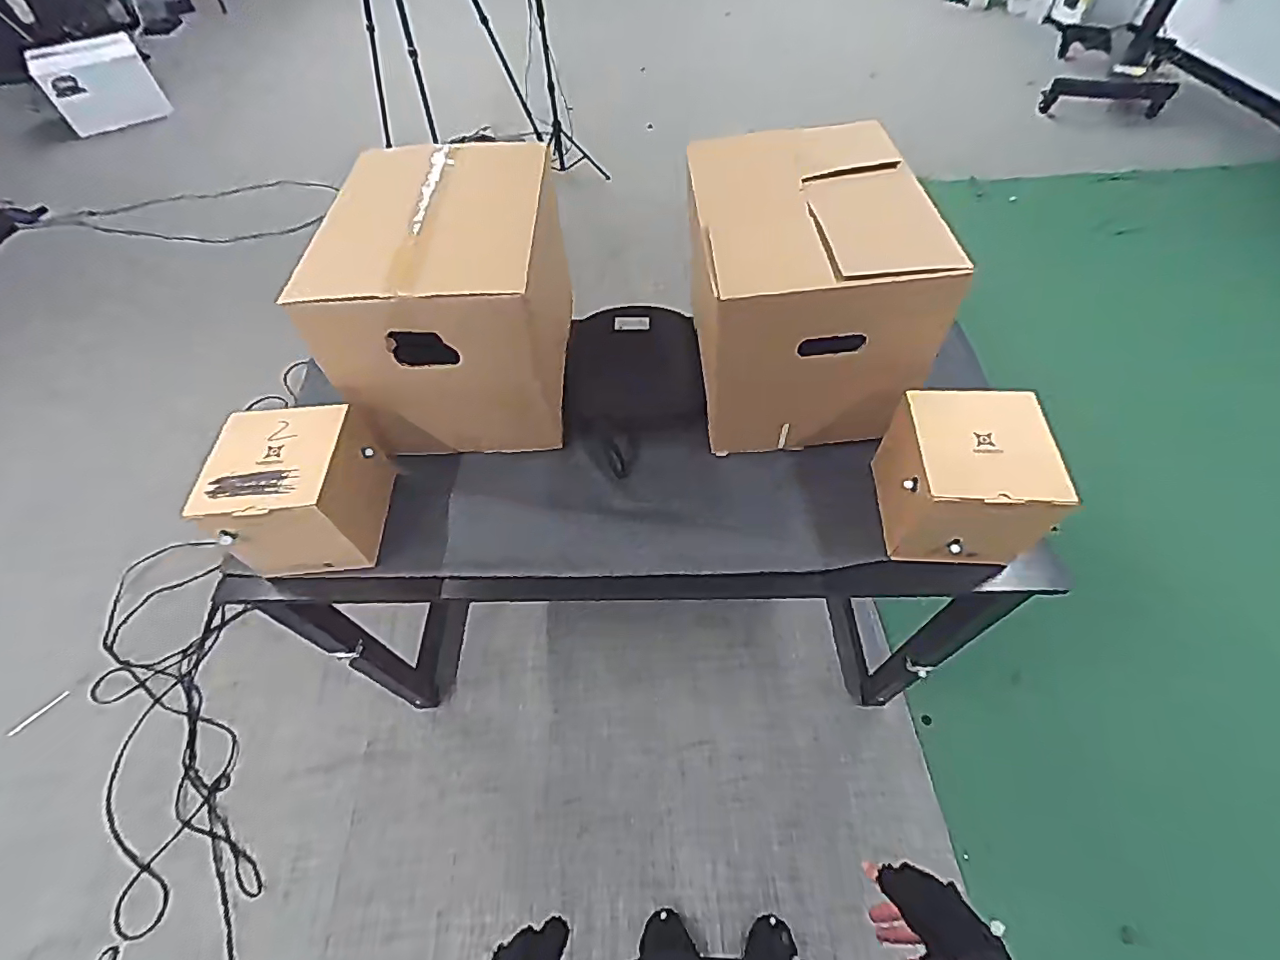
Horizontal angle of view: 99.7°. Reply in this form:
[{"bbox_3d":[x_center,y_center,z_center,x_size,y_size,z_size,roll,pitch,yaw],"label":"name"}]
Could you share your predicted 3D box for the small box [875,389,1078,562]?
[{"bbox_3d":[0.441,-0.004,0.748,0.168,0.176,0.179,2,58,6],"label":"small box"}]
